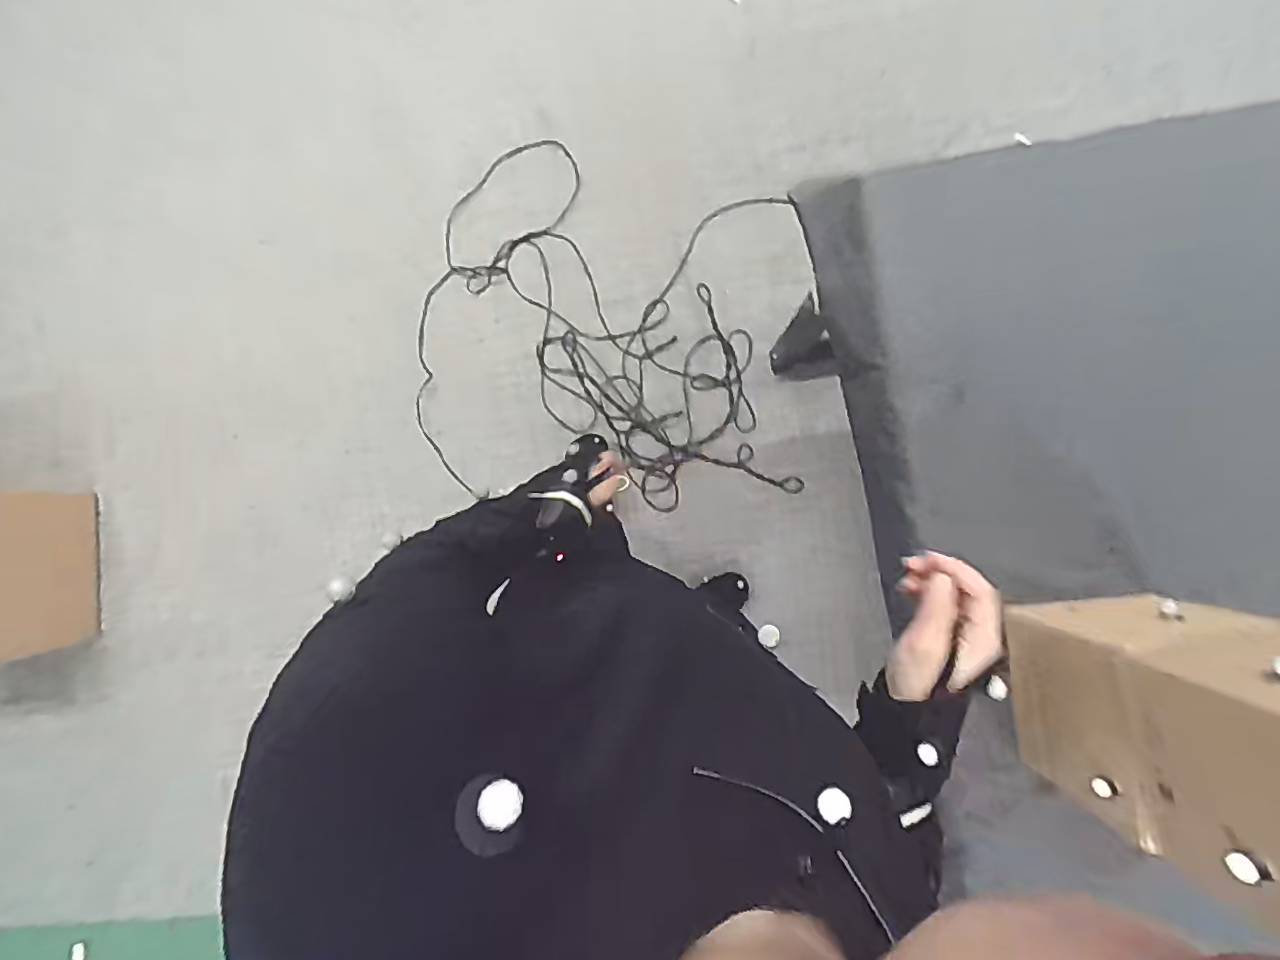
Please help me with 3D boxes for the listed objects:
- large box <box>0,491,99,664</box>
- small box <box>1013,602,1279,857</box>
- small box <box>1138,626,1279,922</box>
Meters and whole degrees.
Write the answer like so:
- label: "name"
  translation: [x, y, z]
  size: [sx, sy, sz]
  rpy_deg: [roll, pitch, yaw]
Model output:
- label: "large box"
  translation: [-1.620, 0.240, 1.320]
  size: [0.320, 0.320, 0.408]
  rpy_deg: [-3, 87, 3]
- label: "small box"
  translation: [0.501, 0.221, 0.527]
  size: [0.168, 0.176, 0.179]
  rpy_deg: [-6, 89, 3]
- label: "small box"
  translation: [0.493, 0.207, 0.365]
  size: [0.179, 0.176, 0.168]
  rpy_deg: [-12, 90, 2]
